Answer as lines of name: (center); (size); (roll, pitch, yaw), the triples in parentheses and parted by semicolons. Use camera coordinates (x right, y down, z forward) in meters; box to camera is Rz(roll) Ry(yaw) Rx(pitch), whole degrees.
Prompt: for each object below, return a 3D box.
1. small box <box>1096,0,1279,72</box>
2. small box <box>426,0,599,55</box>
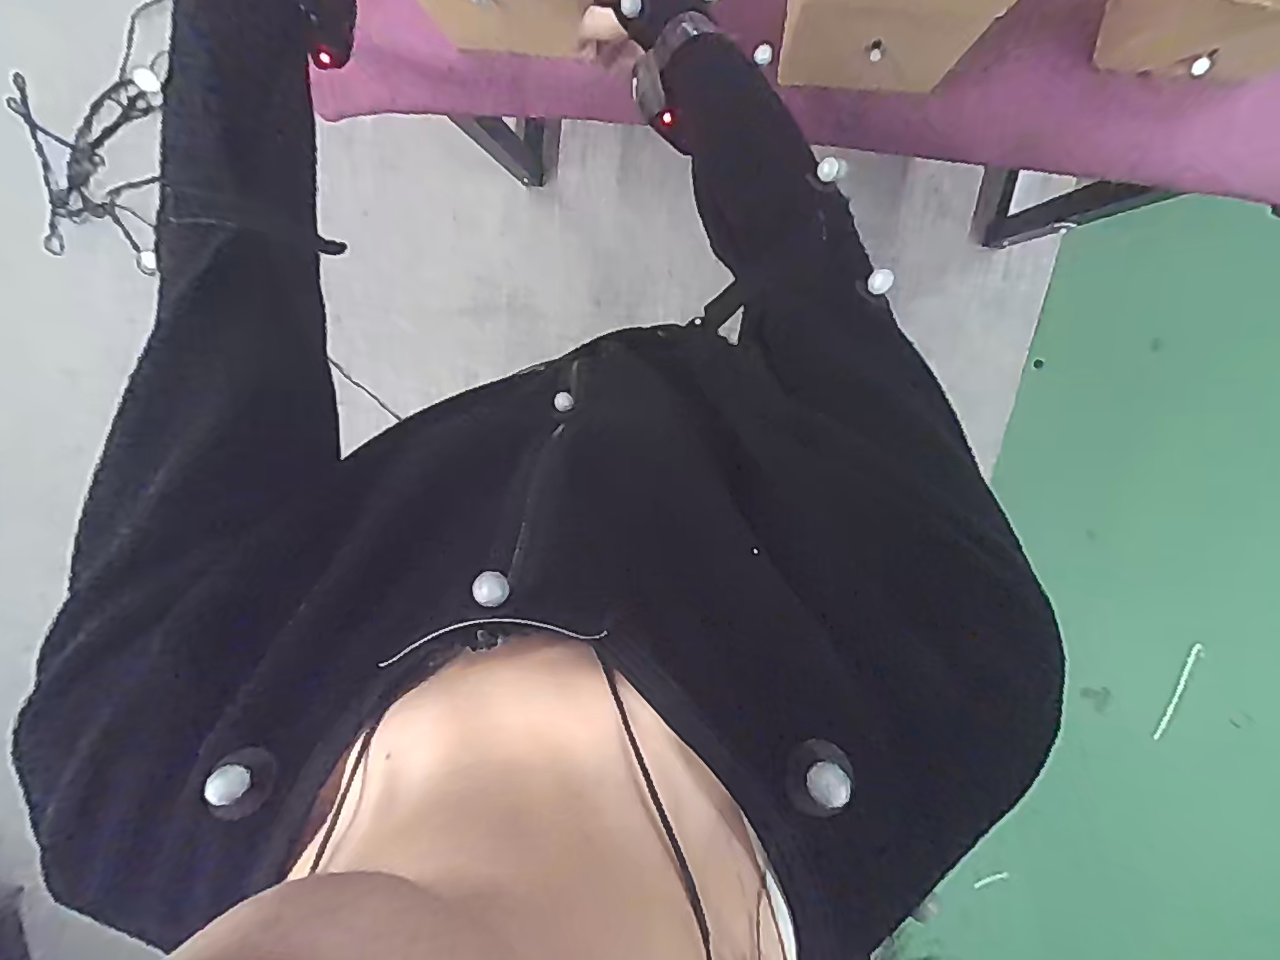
small box: (0.581, -0.504, 0.489); (0.179, 0.176, 0.168); (8, 103, 6)
small box: (-0.139, -0.571, 0.550); (0.179, 0.176, 0.168); (7, 104, 4)
